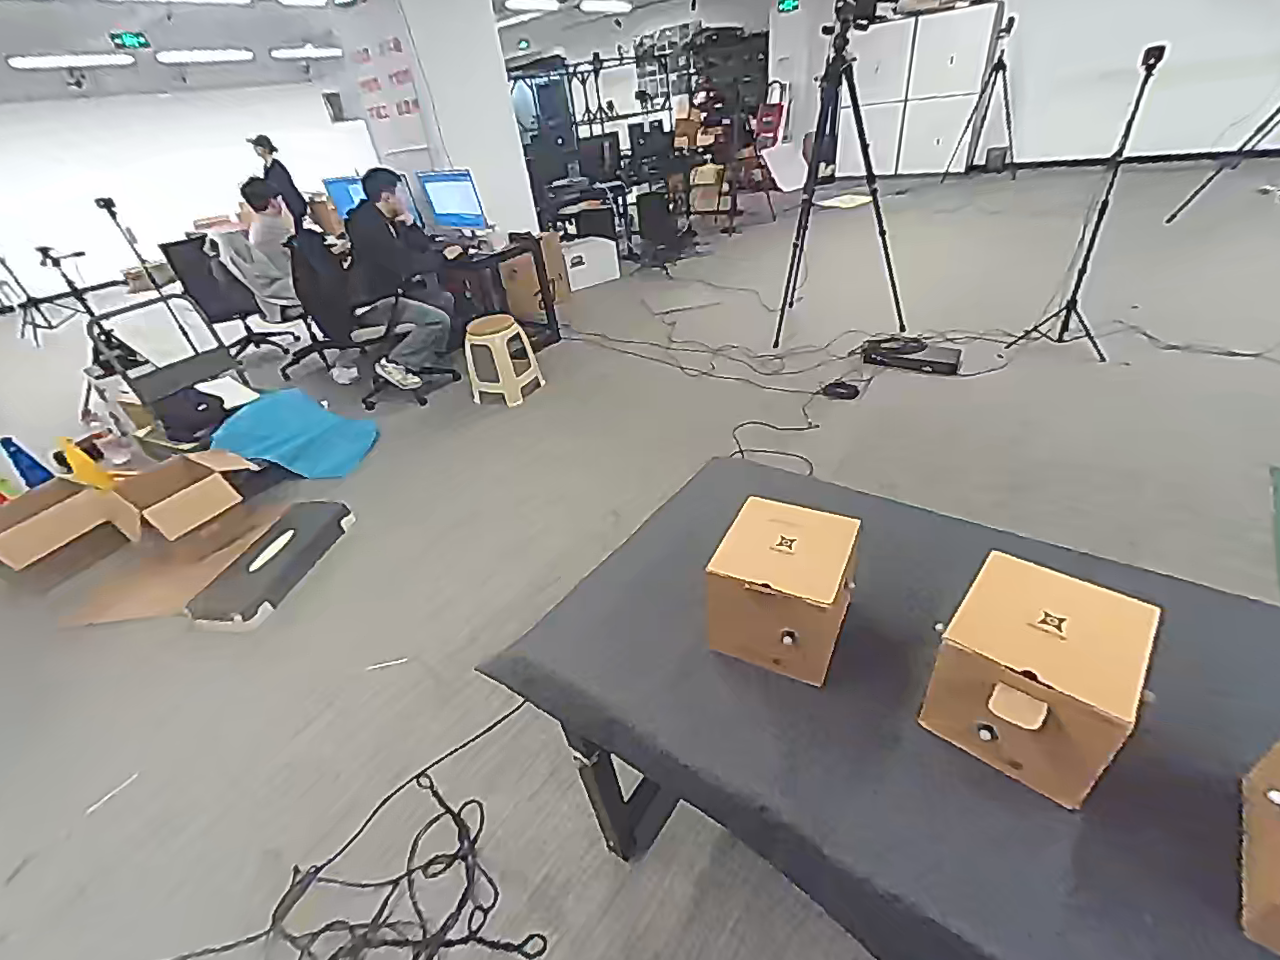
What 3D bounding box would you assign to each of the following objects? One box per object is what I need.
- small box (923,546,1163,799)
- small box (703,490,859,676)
[{"bbox_3d":[0.451,0.214,0.625,0.168,0.176,0.179,24,46,37],"label":"small box"},{"bbox_3d":[0.202,0.144,0.774,0.168,0.176,0.179,14,39,26],"label":"small box"}]
